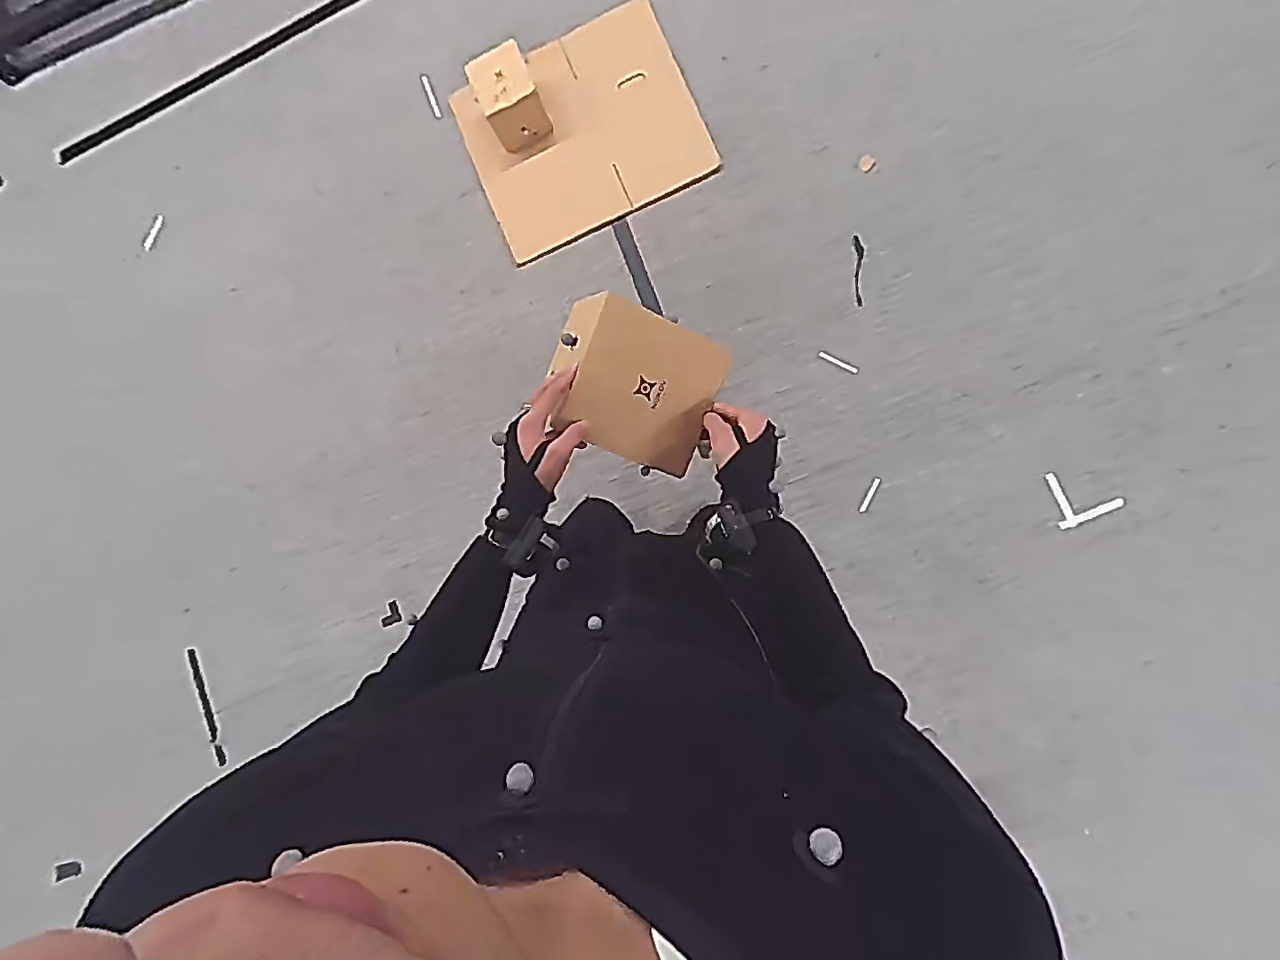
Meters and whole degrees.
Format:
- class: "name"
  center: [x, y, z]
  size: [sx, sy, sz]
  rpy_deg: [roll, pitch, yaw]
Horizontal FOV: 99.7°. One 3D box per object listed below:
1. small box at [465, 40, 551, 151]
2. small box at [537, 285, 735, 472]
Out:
- class: "small box"
  center: [-0.389, -1.139, 1.616]
  size: [0.168, 0.176, 0.179]
  rpy_deg: [-24, 86, 7]
- class: "small box"
  center: [-0.017, -0.127, 0.695]
  size: [0.179, 0.176, 0.168]
  rpy_deg: [20, 96, -24]
